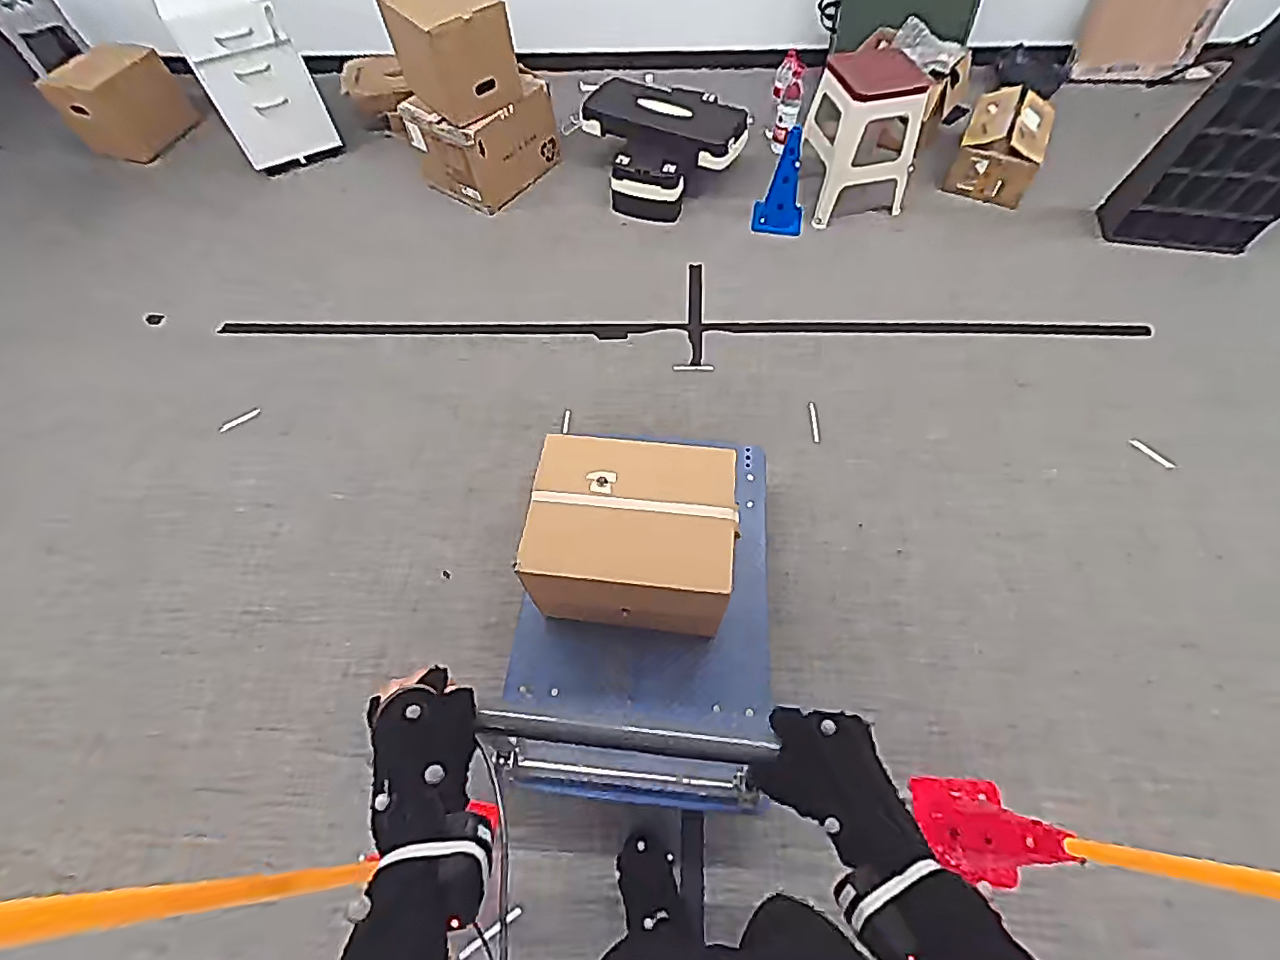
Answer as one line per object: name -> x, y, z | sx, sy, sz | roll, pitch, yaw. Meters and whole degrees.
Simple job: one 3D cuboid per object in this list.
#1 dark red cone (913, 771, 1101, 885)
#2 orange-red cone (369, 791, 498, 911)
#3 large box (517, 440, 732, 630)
dark red cone -> 0.705, 0.662, 1.020 | 0.201, 0.394, 0.202 | 2, 61, 1
orange-red cone -> -0.428, 0.721, 1.039 | 0.198, 0.360, 0.199 | 8, 59, 5
large box -> -0.013, 0.132, 1.196 | 0.408, 0.320, 0.320 | 5, 60, 5
